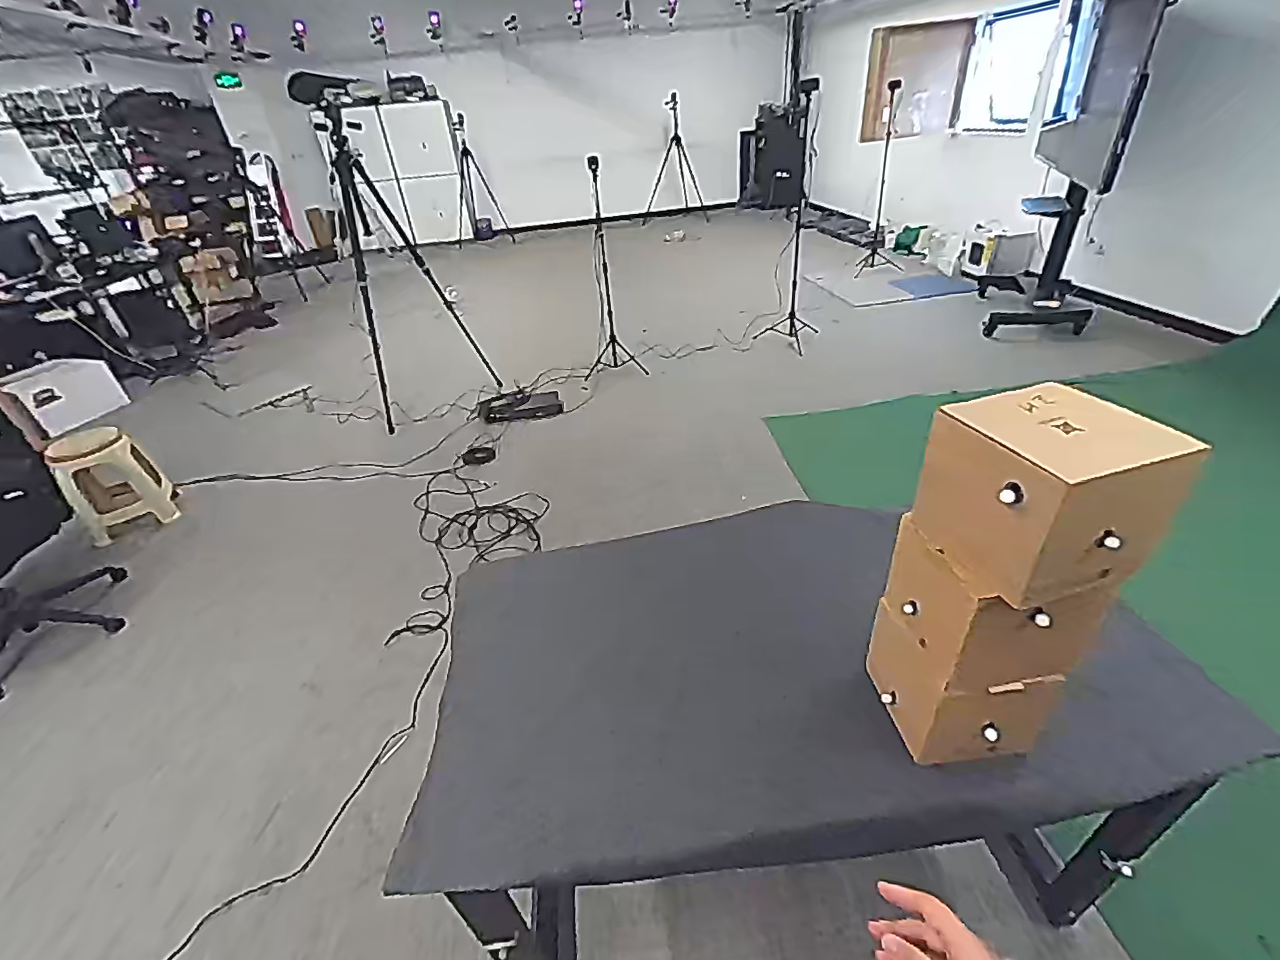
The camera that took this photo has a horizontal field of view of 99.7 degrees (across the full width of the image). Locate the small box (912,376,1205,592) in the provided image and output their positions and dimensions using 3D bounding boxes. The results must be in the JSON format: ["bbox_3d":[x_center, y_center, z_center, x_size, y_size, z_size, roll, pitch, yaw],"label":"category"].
[{"bbox_3d":[0.443,0.005,0.609,0.168,0.176,0.179,-13,34,-9],"label":"small box"}]

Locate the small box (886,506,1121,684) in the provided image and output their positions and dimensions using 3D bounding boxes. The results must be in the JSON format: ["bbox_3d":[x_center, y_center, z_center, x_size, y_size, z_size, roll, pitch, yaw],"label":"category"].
[{"bbox_3d":[0.450,0.139,0.706,0.179,0.176,0.168,-9,33,-2],"label":"small box"}]

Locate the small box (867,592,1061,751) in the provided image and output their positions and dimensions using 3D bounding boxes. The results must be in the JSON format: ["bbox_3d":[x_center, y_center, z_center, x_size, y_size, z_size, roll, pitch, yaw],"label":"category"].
[{"bbox_3d":[0.456,0.275,0.796,0.168,0.176,0.179,-8,34,-1],"label":"small box"}]
